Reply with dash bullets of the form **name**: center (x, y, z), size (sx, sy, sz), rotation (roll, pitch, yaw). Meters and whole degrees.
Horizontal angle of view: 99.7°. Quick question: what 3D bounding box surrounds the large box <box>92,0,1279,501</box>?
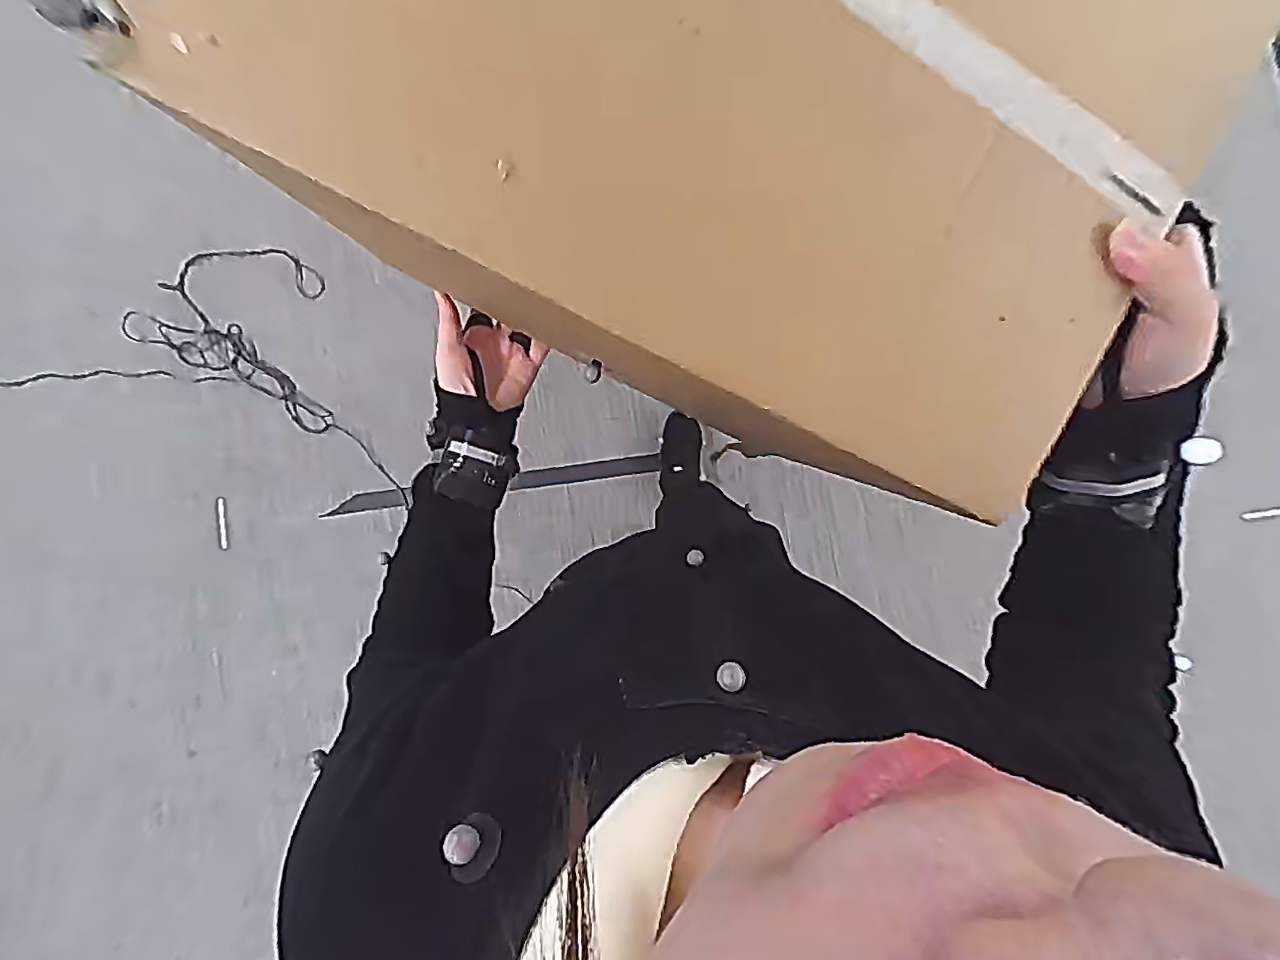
- **large box**: center (0.039, -0.226, 0.345), size (0.408, 0.320, 0.320), rotation (24, 95, -12)
